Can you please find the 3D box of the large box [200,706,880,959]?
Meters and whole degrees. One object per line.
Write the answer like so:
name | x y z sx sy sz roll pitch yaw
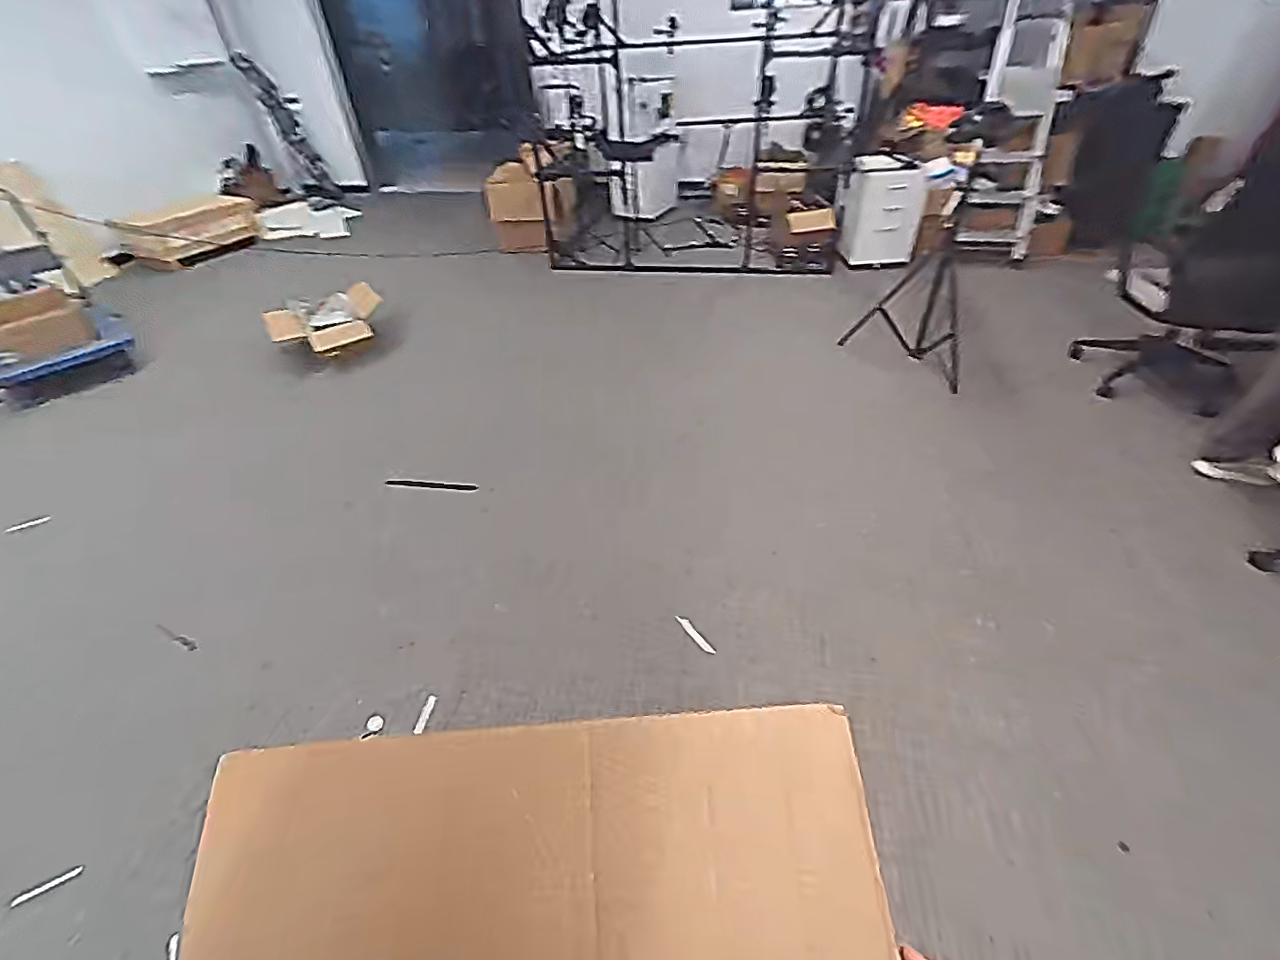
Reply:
large box | -0.054 0.373 0.432 0.408 0.320 0.320 -5 66 0
